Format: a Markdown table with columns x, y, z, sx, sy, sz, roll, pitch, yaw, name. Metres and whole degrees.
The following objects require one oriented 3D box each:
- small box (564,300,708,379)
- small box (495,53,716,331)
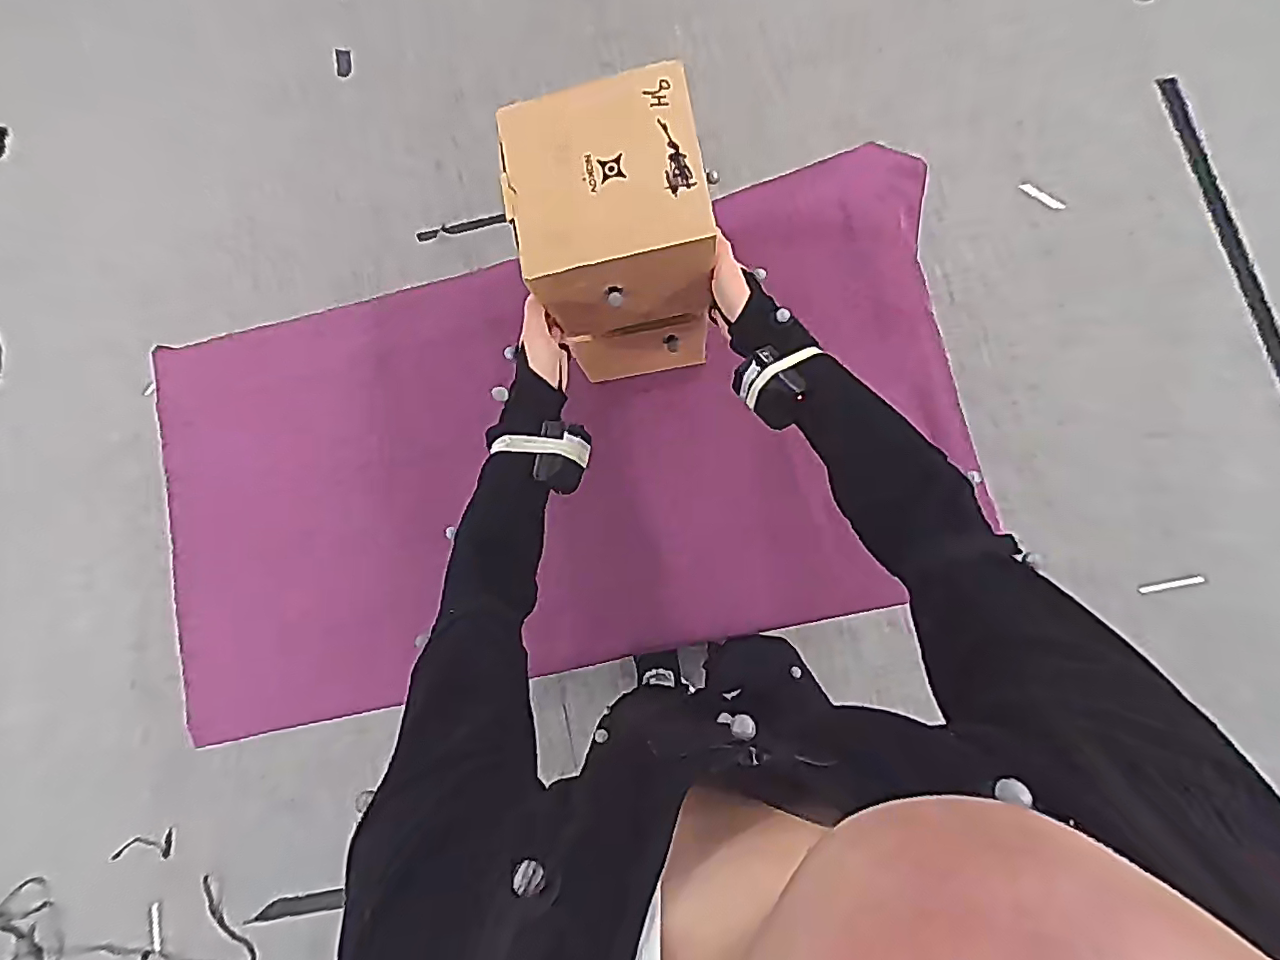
| x | y | z | sx | sy | sz | roll | pitch | yaw | name |
| --- | --- | --- | --- | --- | --- | --- | --- | --- | --- |
| -0.008 | -0.249 | 0.738 | 0.179 | 0.176 | 0.168 | -10 | 83 | 5 | small box |
| -0.022 | -0.267 | 0.546 | 0.179 | 0.176 | 0.168 | -11 | 87 | 7 | small box |
